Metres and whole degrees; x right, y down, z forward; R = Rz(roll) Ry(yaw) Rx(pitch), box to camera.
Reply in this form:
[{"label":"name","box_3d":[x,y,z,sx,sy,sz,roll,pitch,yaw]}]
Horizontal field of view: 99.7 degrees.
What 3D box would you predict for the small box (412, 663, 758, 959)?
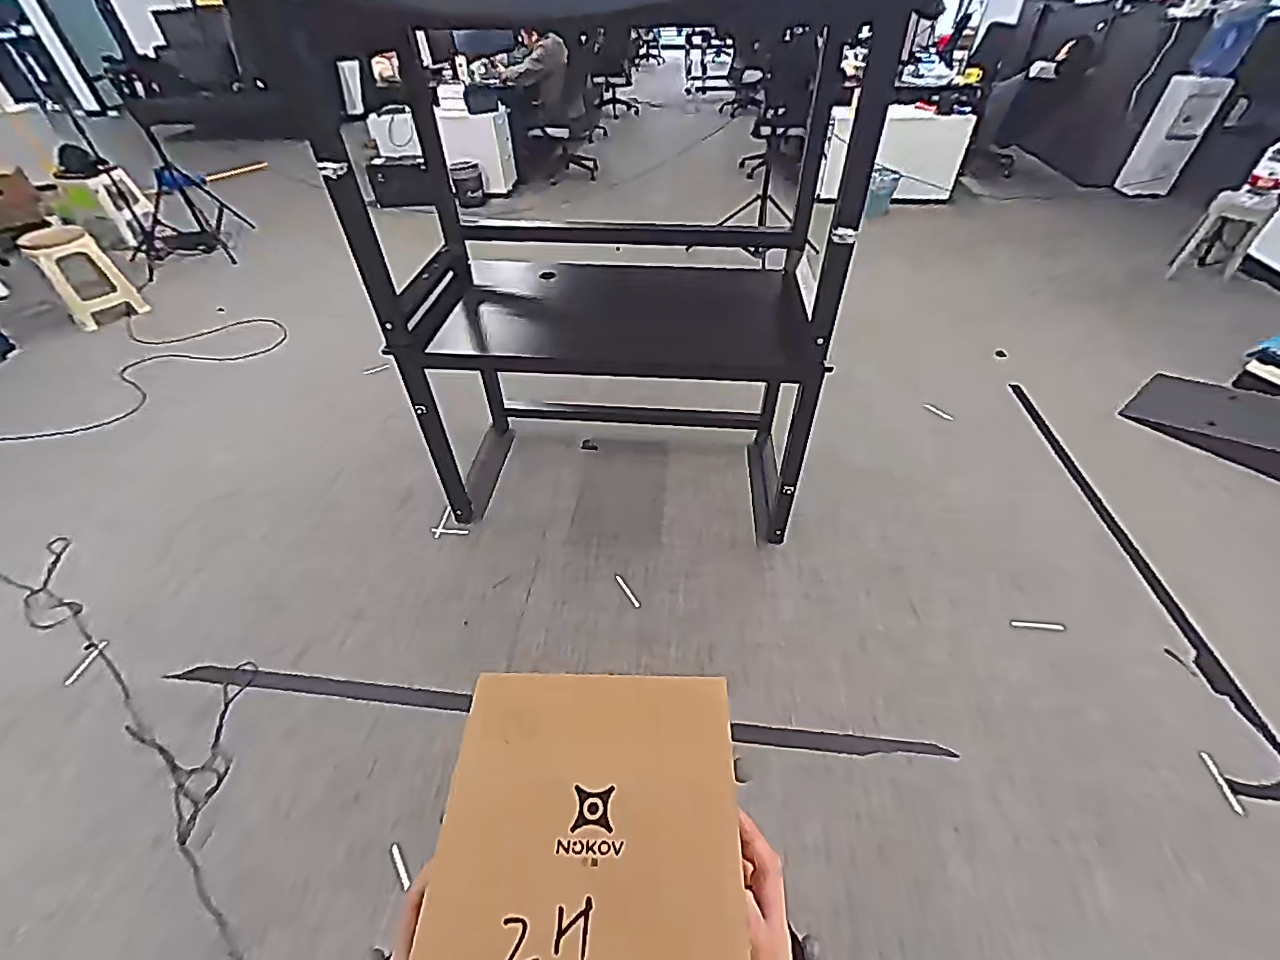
[{"label":"small box","box_3d":[-0.023,0.241,0.352,0.168,0.176,0.179,0,45,2]}]
